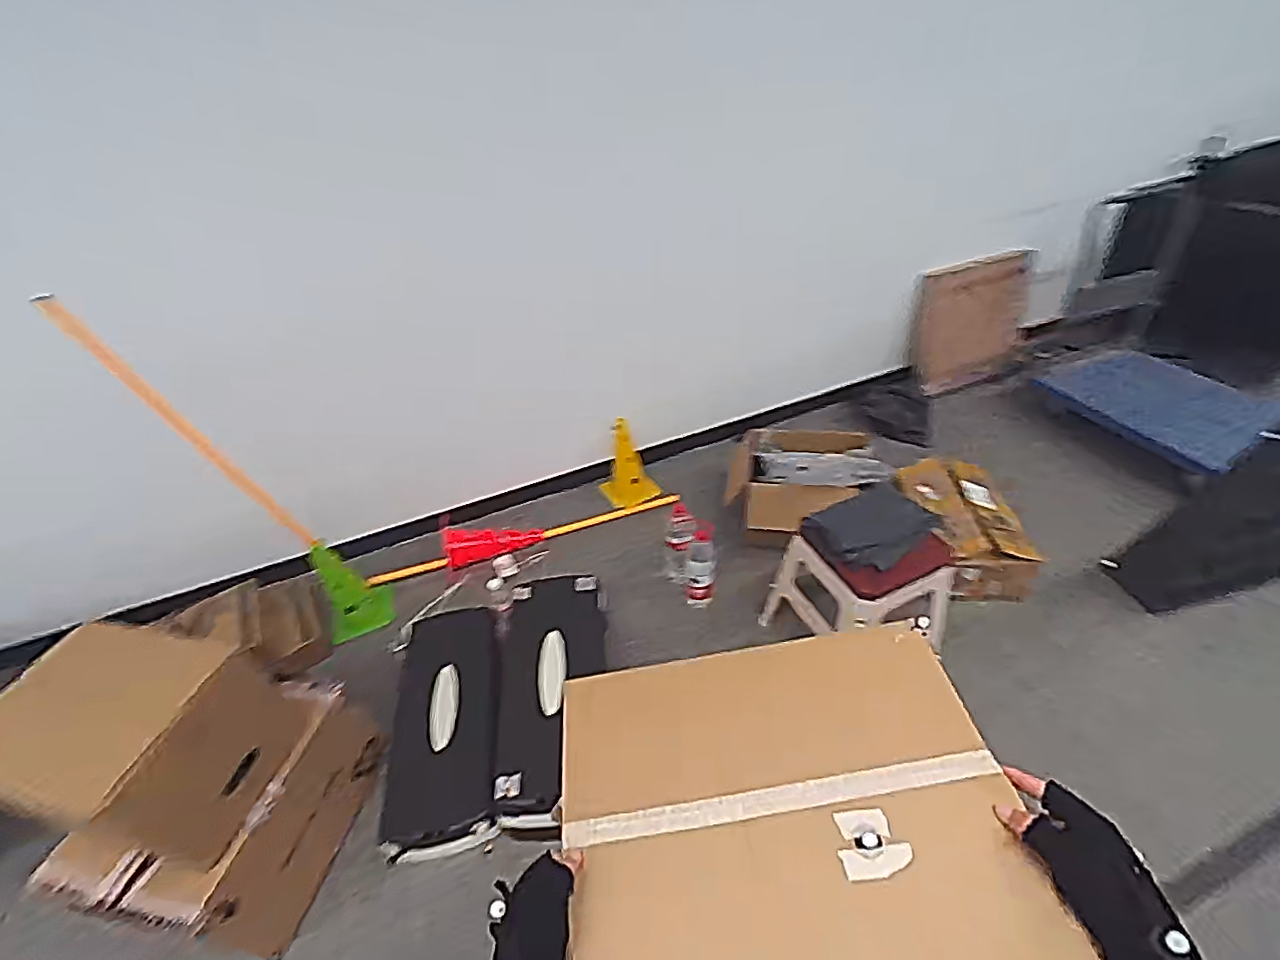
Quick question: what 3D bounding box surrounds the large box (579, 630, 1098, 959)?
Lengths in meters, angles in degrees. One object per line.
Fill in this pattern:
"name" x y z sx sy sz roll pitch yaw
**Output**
"large box" 0.160 0.419 0.615 0.408 0.320 0.320 -10 42 2
